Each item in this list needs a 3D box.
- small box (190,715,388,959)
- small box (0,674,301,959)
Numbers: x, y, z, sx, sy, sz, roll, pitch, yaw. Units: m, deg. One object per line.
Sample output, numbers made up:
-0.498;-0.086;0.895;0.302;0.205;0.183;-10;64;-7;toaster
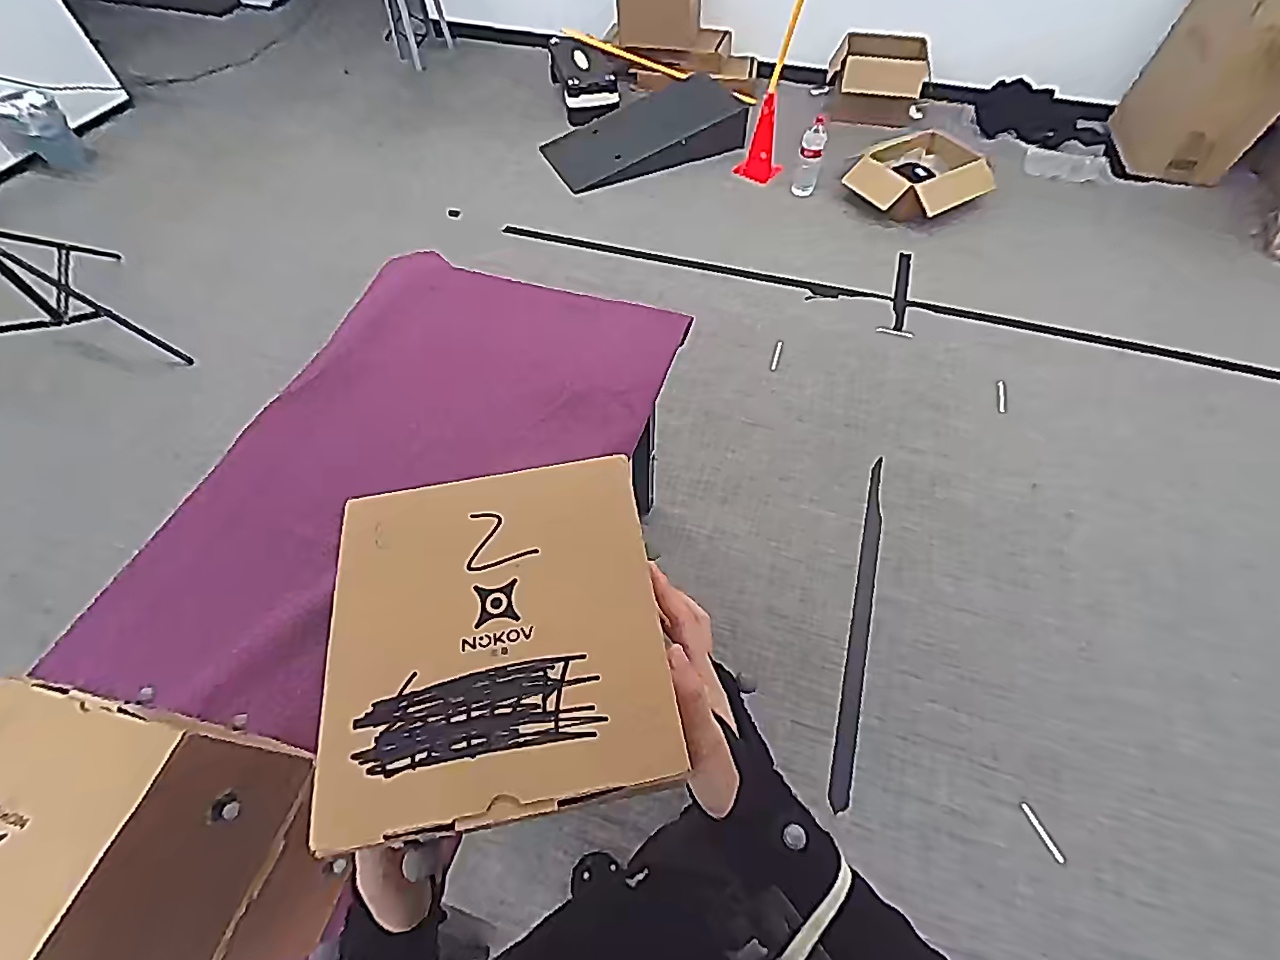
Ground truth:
-0.400;0.360;0.548;0.179;0.176;0.168;12;58;9;small box
-0.404;0.272;0.411;0.168;0.176;0.179;11;59;10;small box
